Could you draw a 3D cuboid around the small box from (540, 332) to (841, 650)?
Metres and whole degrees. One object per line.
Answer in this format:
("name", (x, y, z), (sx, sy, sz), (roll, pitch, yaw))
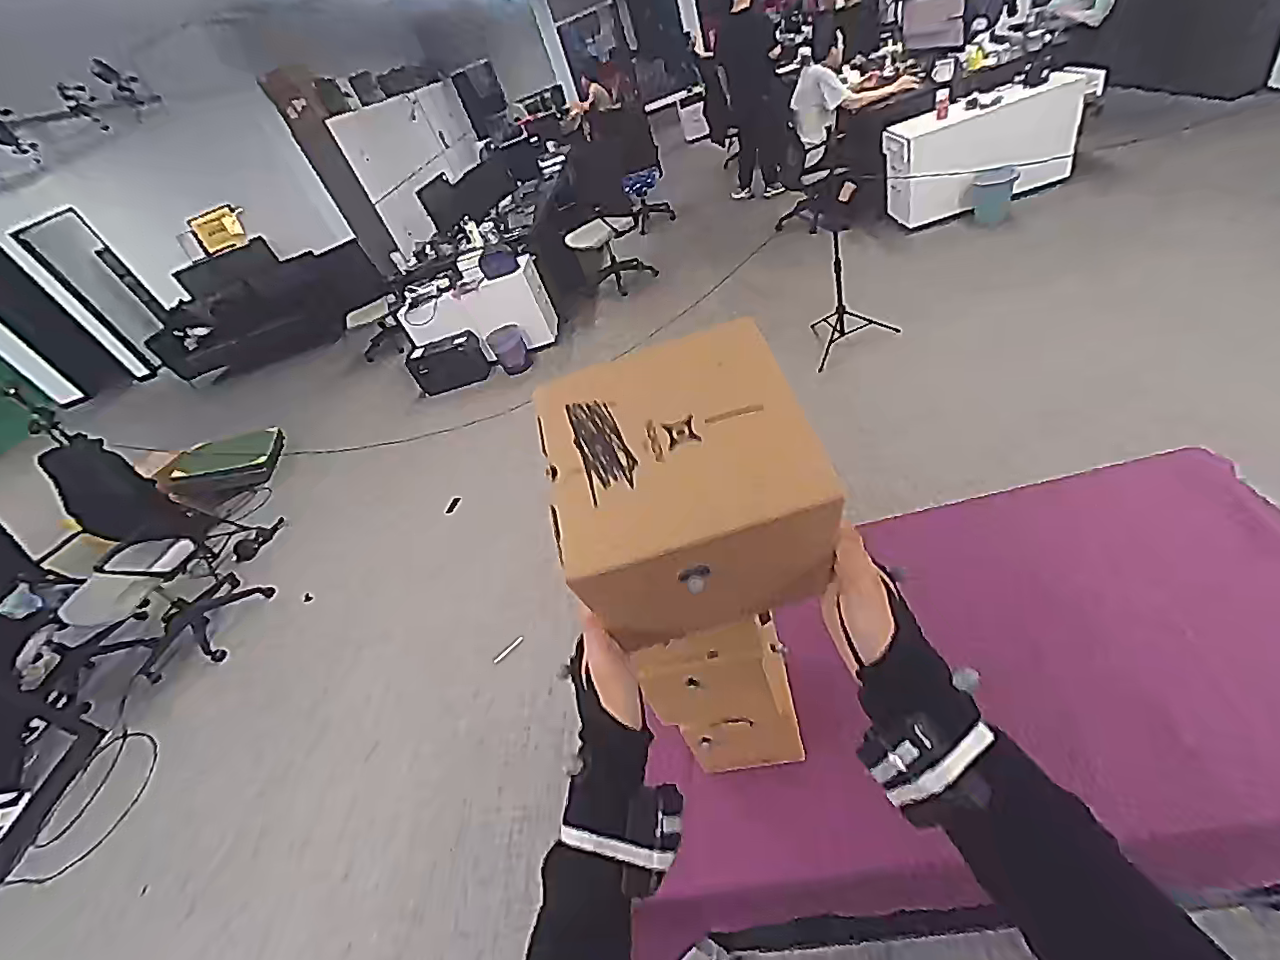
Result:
("small box", (0.039, 0.019, 0.434), (0.179, 0.176, 0.168), (-18, 56, 2))

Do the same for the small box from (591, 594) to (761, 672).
("small box", (0.048, 0.124, 0.686), (0.168, 0.176, 0.179), (-14, 38, 11))

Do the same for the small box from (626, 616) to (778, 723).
("small box", (0.097, 0.239, 0.790), (0.179, 0.176, 0.168), (-9, 40, 16))
